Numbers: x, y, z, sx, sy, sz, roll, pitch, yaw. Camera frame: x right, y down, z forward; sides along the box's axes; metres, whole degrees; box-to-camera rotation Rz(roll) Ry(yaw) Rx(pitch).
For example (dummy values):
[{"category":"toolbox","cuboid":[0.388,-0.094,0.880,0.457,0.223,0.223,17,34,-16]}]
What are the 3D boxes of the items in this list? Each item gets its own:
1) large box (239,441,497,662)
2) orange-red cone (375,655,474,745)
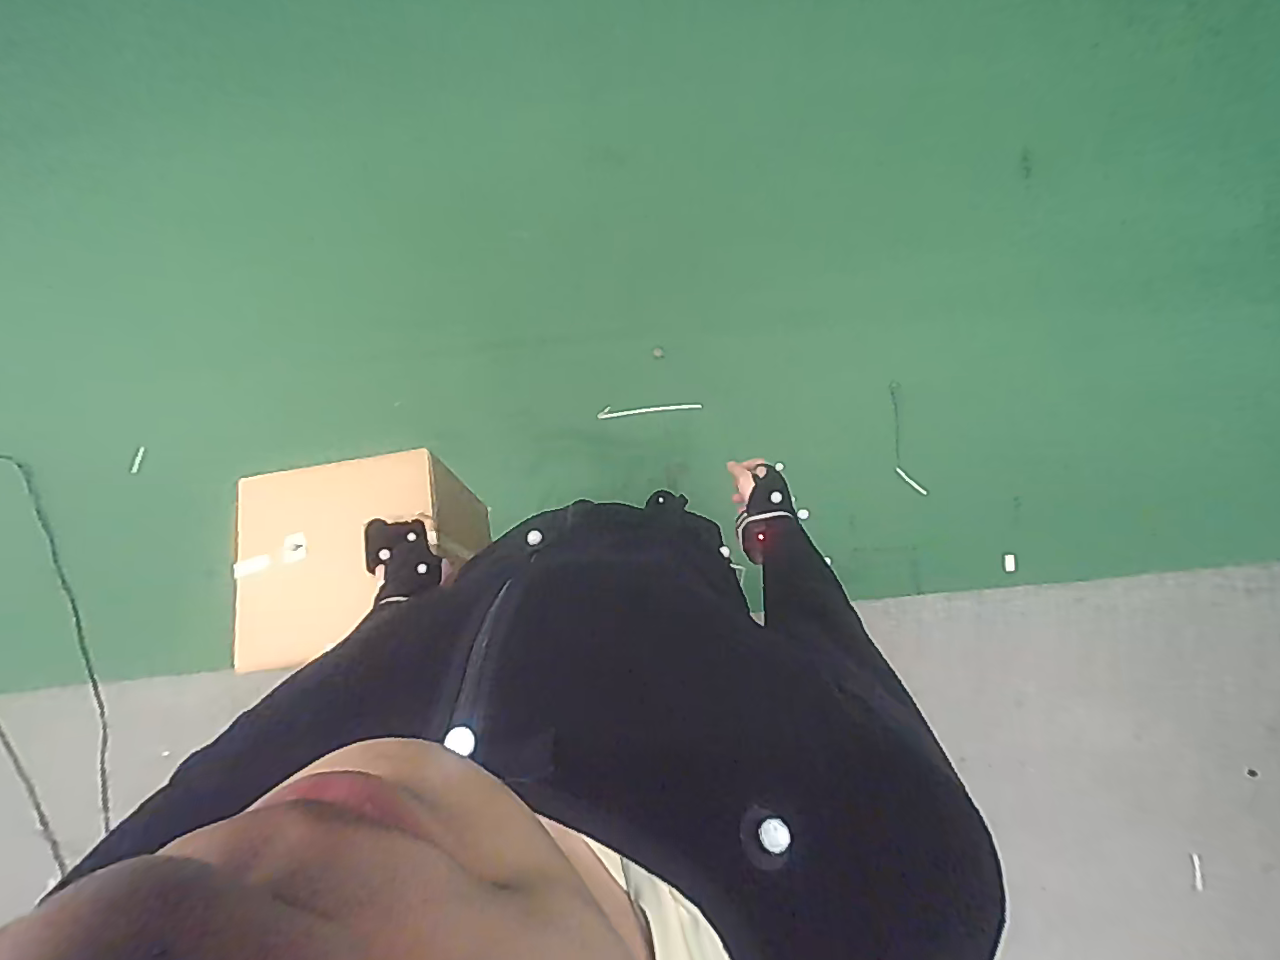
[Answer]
[{"category":"large box","cuboid":[-0.486,0.152,1.043,0.320,0.408,0.320,-9,75,-5]},{"category":"orange-red cone","cuboid":[-0.620,0.631,1.484,0.199,0.360,0.198,1,88,3]}]
